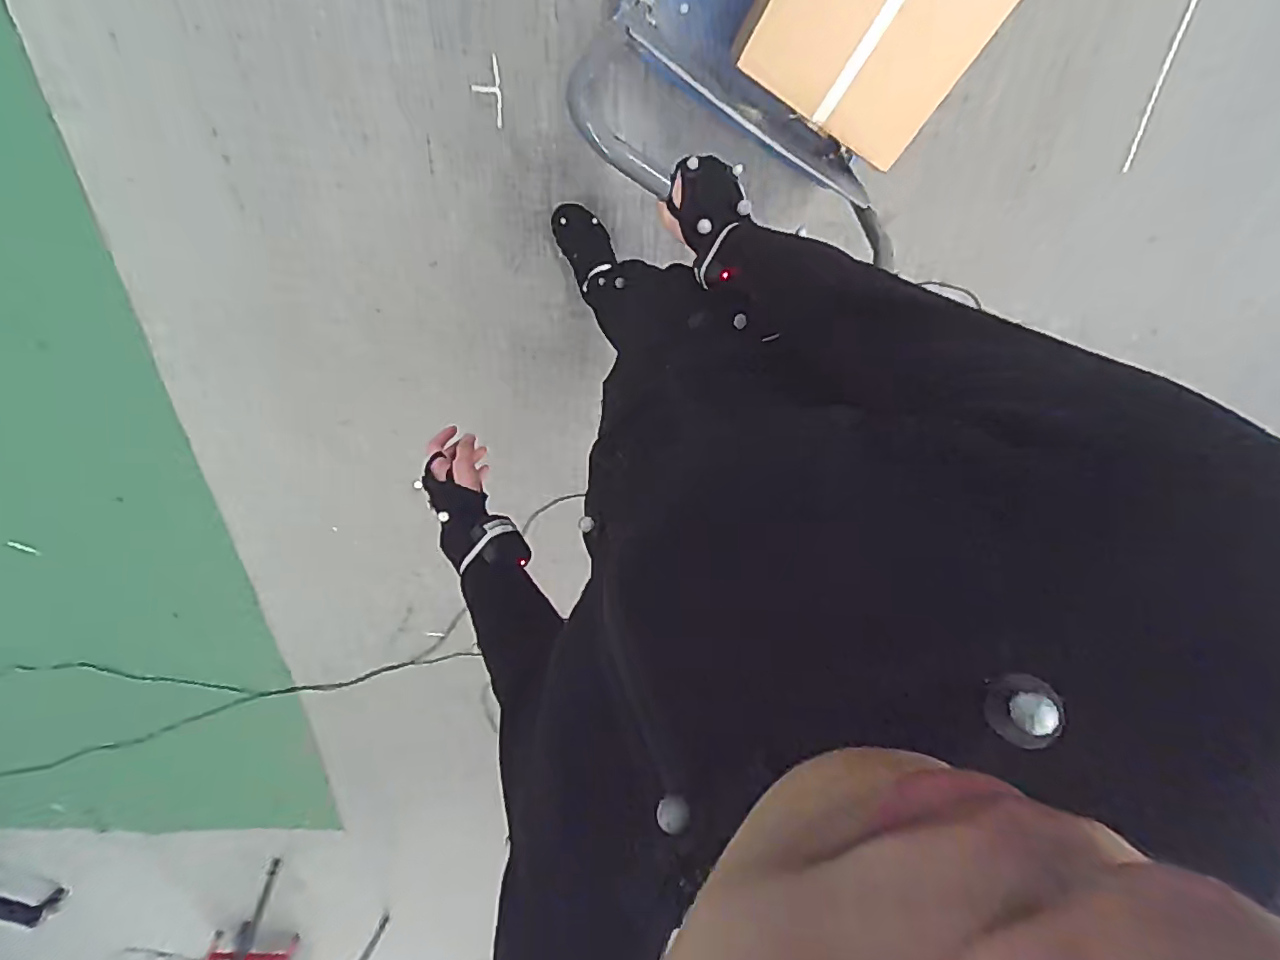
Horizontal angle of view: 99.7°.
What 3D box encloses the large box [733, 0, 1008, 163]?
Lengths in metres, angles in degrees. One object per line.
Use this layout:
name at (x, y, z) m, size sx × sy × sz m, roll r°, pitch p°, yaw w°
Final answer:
large box at (0.388, -0.819, 0.873) m, size 0.320 × 0.320 × 0.408 m, roll 25°, pitch 129°, yaw -16°
